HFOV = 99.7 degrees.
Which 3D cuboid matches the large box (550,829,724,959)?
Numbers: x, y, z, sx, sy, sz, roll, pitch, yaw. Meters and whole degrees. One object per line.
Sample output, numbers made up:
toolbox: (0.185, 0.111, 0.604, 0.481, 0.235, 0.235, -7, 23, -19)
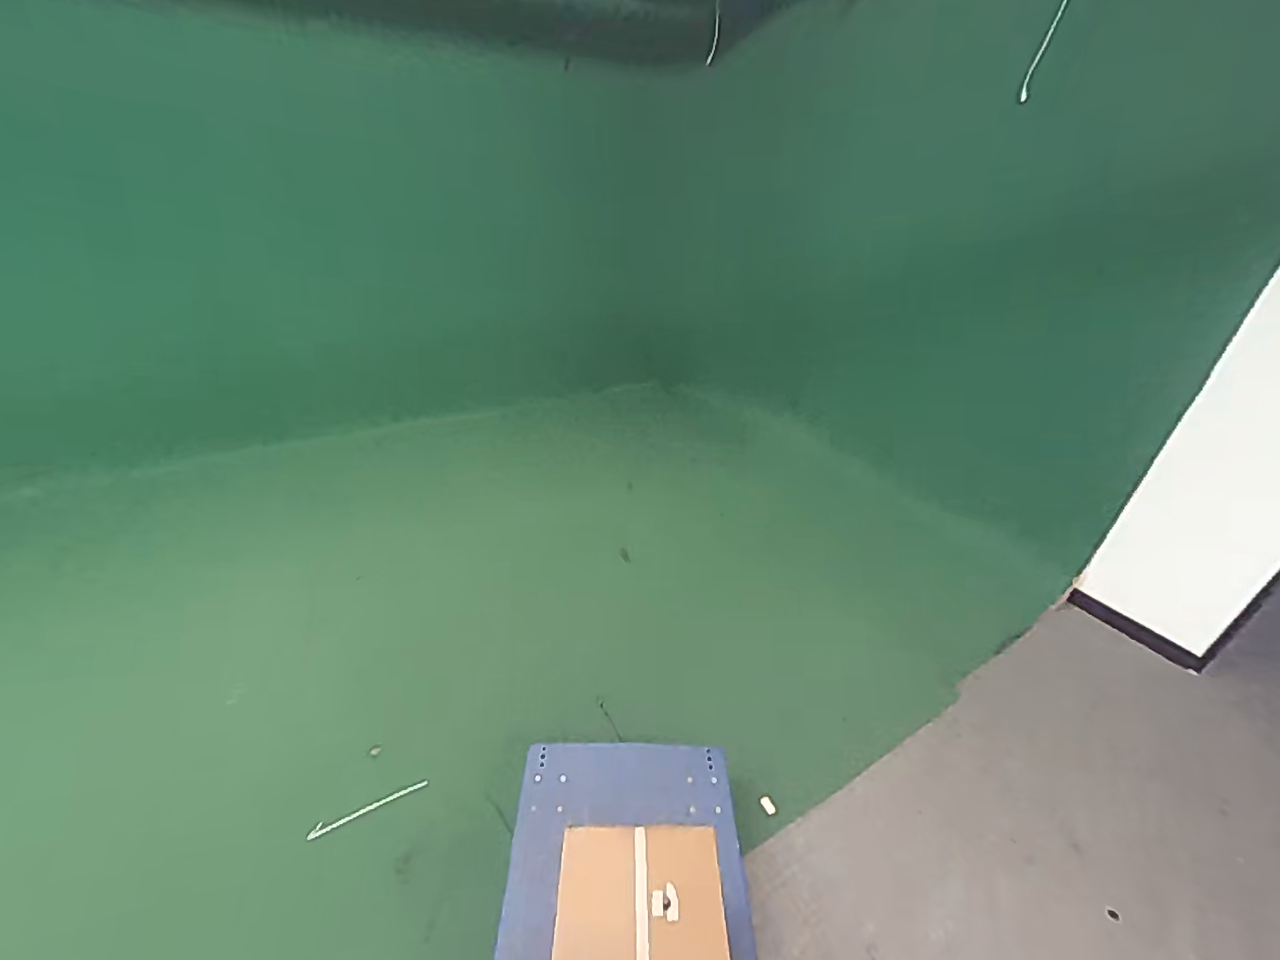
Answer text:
large box: (-0.011, 0.965, 1.040, 0.320, 0.320, 0.408, 3, 31, -2)
